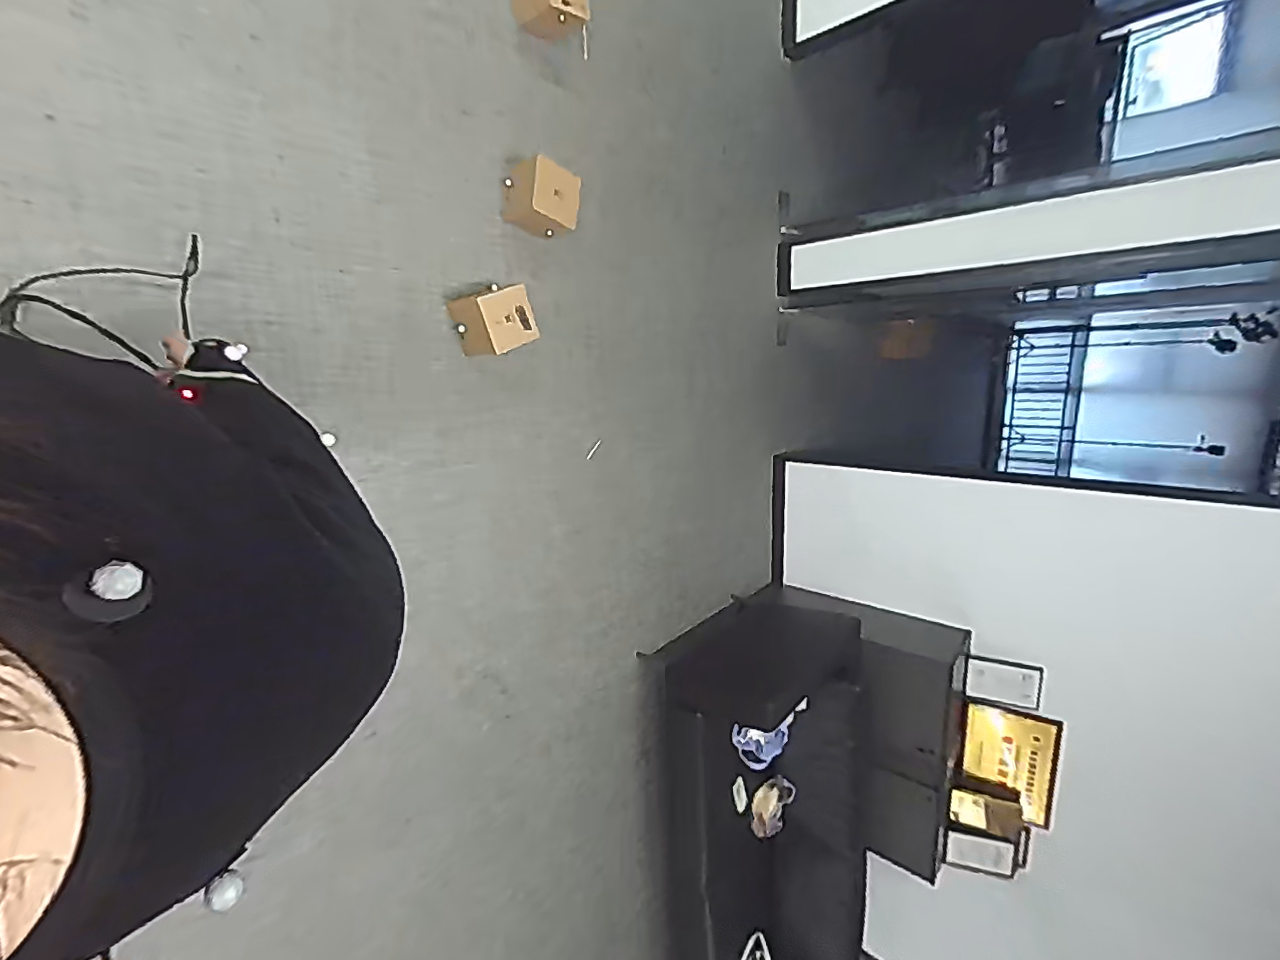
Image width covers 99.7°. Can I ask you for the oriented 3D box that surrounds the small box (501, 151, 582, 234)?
[{"bbox_3d":[-0.311,-0.897,1.710,0.179,0.176,0.168,5,93,-49],"label":"small box"}]

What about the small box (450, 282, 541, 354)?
[{"bbox_3d":[-0.436,-0.489,1.637,0.179,0.176,0.168,-38,123,-38],"label":"small box"}]

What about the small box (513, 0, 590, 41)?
[{"bbox_3d":[-0.279,-1.491,1.641,0.168,0.176,0.179,-24,113,-44],"label":"small box"}]
